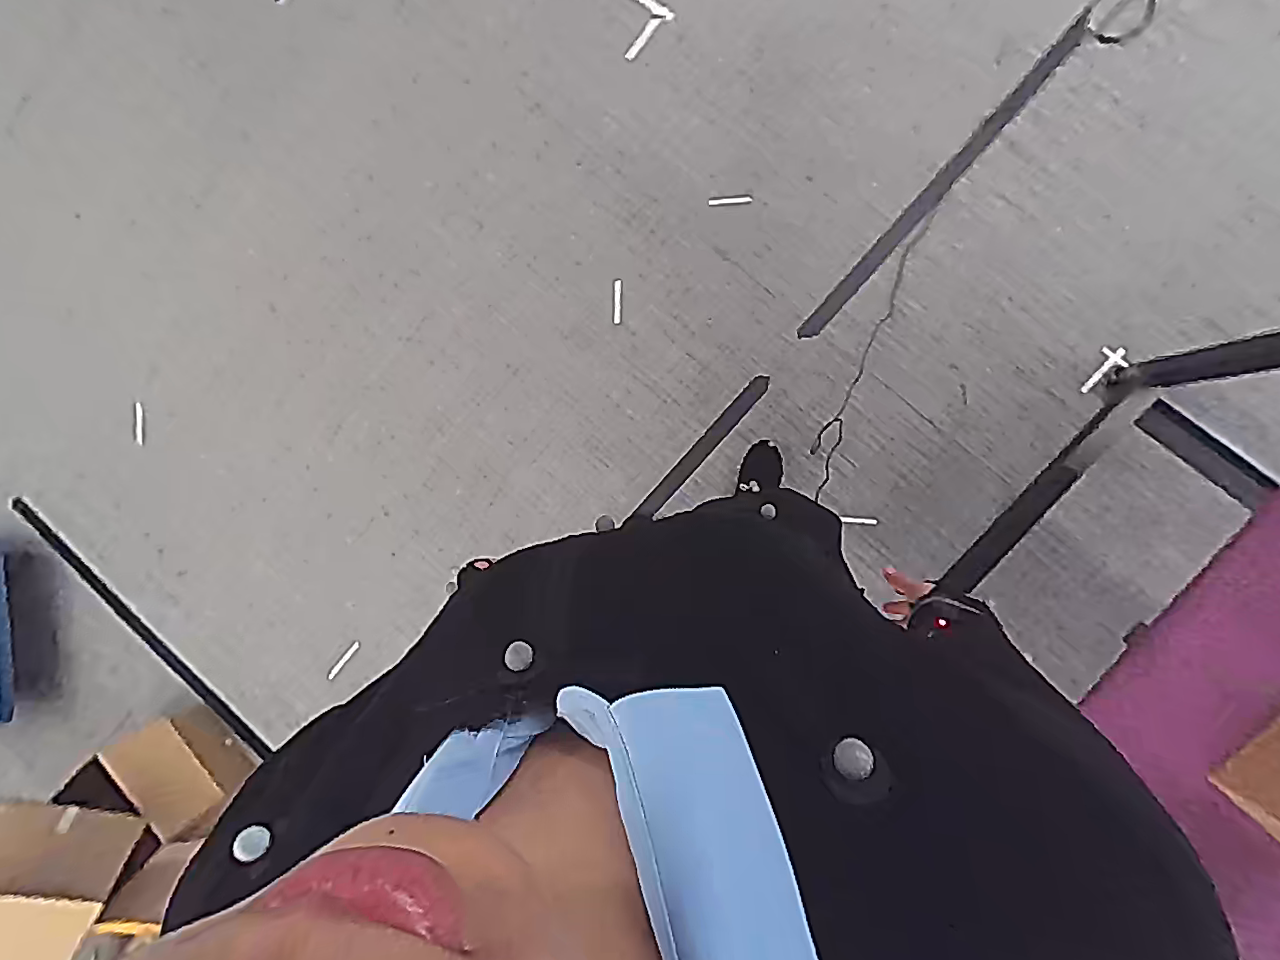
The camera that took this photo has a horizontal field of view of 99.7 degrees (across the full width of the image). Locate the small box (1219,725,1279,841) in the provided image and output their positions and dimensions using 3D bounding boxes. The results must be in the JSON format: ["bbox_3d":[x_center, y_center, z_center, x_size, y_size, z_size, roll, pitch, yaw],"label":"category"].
[{"bbox_3d":[0.817,0.364,0.581,0.168,0.176,0.179,43,98,4],"label":"small box"}]
